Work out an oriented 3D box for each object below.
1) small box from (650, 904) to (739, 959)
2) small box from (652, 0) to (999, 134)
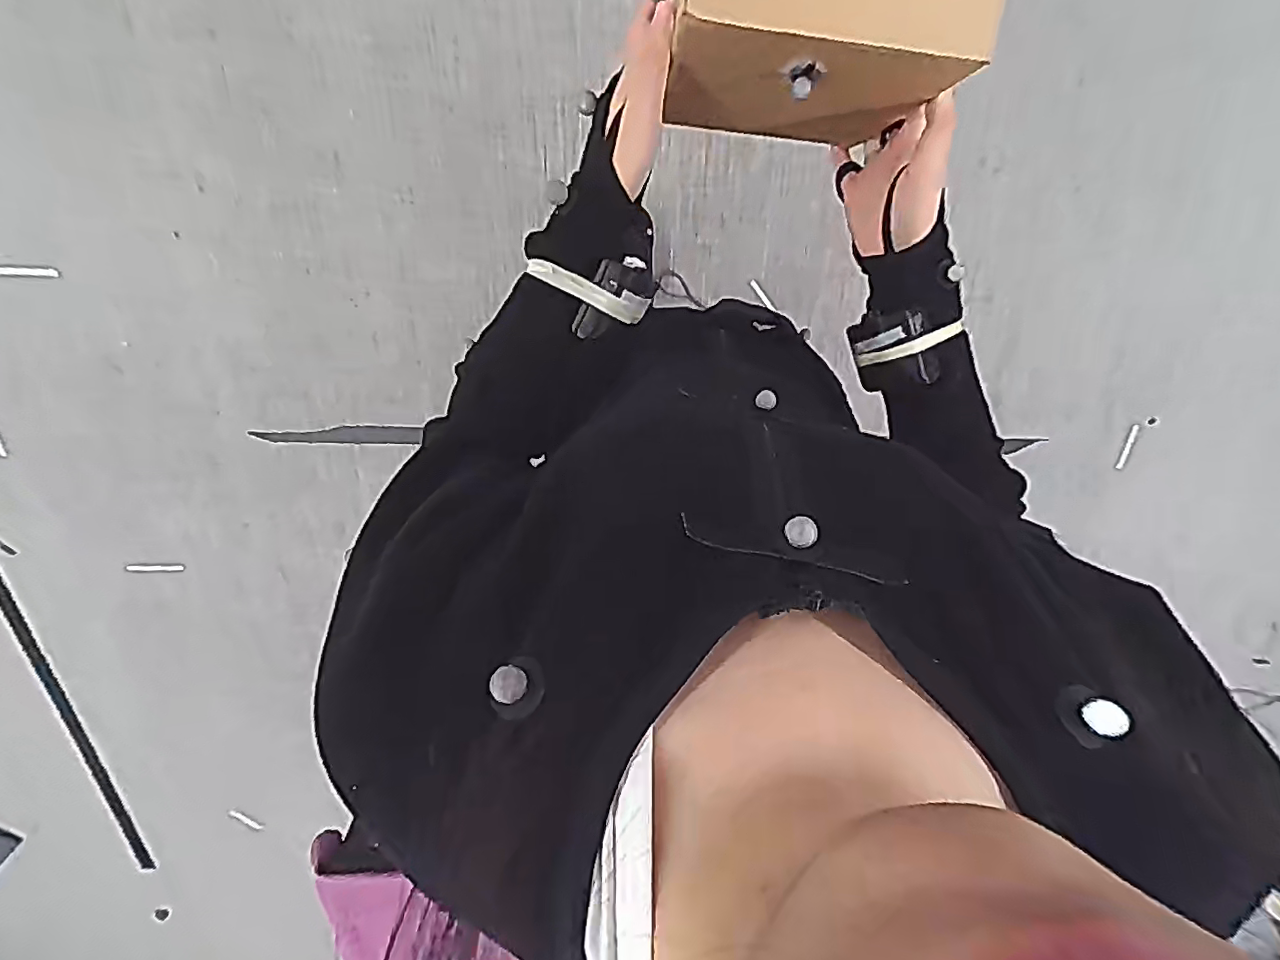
[{"bbox_3d":[0.115,1.015,1.119,0.179,0.176,0.168,-2,113,-2],"label":"small box"},{"bbox_3d":[0.105,-0.341,0.341,0.179,0.176,0.168,3,108,-7],"label":"small box"}]
